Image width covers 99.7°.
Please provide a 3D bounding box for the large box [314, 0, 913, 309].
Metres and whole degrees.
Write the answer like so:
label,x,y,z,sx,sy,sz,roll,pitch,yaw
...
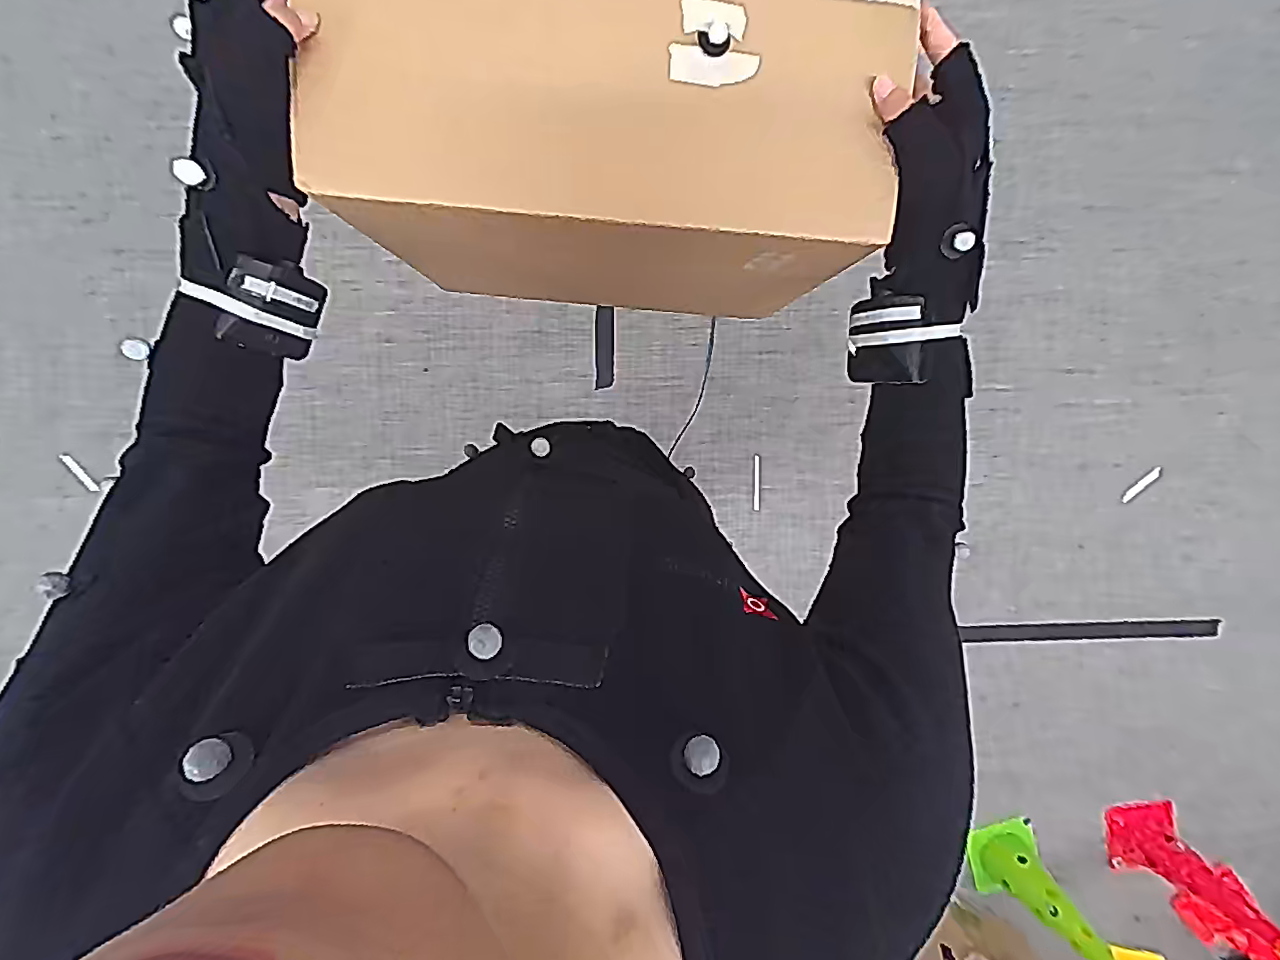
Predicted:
label,x,y,z,sx,sy,sz,roll,pitch,yaw
large box,-0.021,-0.355,0.504,0.408,0.320,0.320,3,98,-4
